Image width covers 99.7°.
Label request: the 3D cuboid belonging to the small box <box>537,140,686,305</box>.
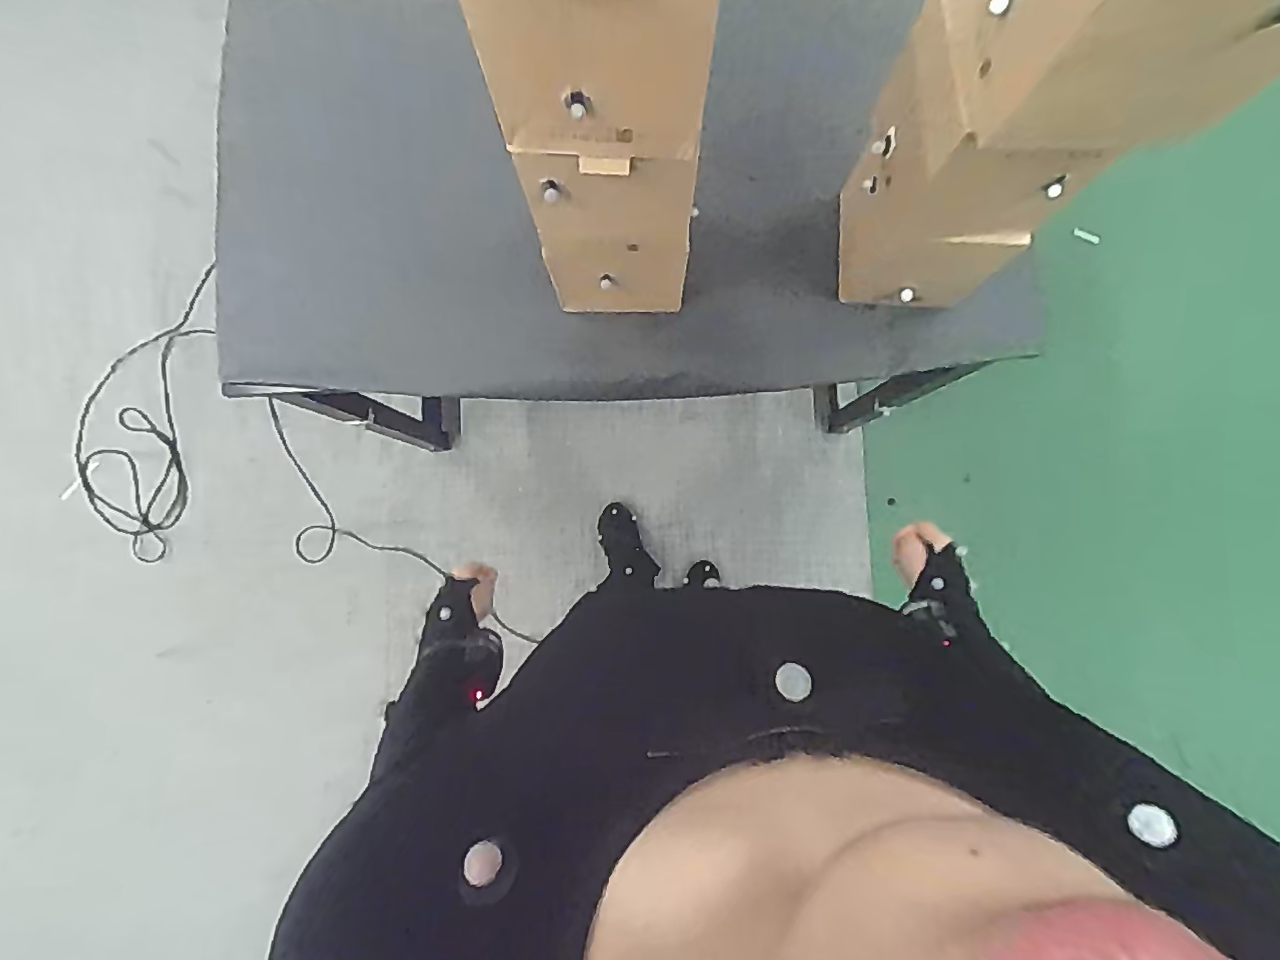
[{"bbox_3d":[-0.030,-0.342,0.715,0.179,0.176,0.168,0,84,2],"label":"small box"}]

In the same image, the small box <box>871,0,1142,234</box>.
[{"bbox_3d":[0.359,-0.374,0.545,0.179,0.176,0.168,-4,82,2],"label":"small box"}]

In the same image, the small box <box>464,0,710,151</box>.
[{"bbox_3d":[-0.033,-0.380,0.389,0.168,0.176,0.179,3,84,1],"label":"small box"}]

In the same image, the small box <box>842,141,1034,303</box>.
[{"bbox_3d":[0.374,-0.355,0.706,0.168,0.176,0.179,3,84,2],"label":"small box"}]
